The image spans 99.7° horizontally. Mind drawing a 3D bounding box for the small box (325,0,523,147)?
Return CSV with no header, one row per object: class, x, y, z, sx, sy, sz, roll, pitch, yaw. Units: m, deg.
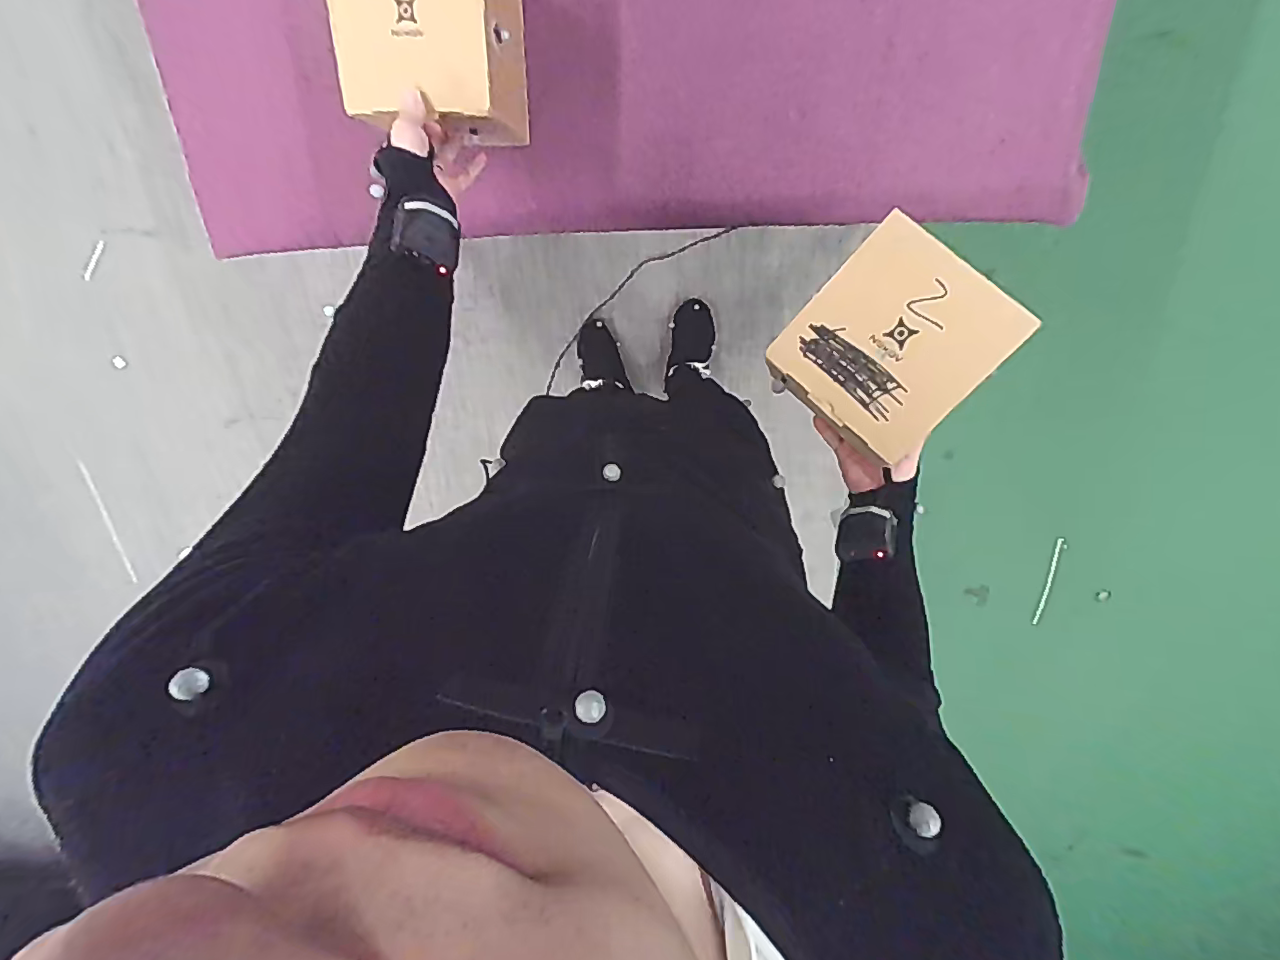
small box,-0.240,-0.507,0.637,0.168,0.176,0.179,2,112,2
